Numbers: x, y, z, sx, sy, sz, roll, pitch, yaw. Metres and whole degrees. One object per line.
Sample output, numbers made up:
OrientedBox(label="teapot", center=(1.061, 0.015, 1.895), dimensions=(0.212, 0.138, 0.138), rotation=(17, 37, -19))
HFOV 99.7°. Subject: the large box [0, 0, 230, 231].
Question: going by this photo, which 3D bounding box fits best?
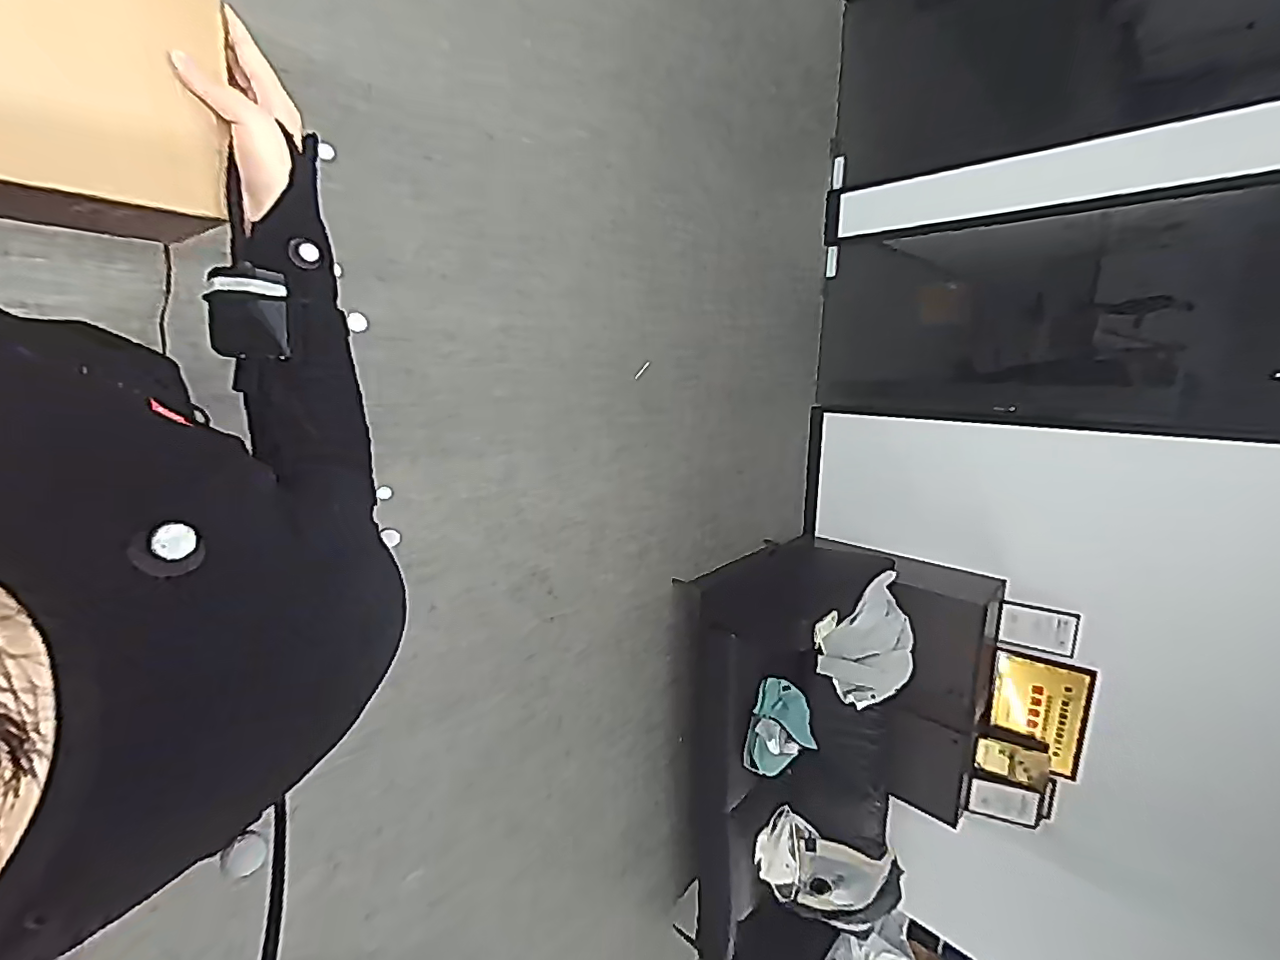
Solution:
OrientedBox(label="large box", center=(-0.546, -0.362, 0.329), dimensions=(0.408, 0.320, 0.320), rotation=(-10, 112, -46))
